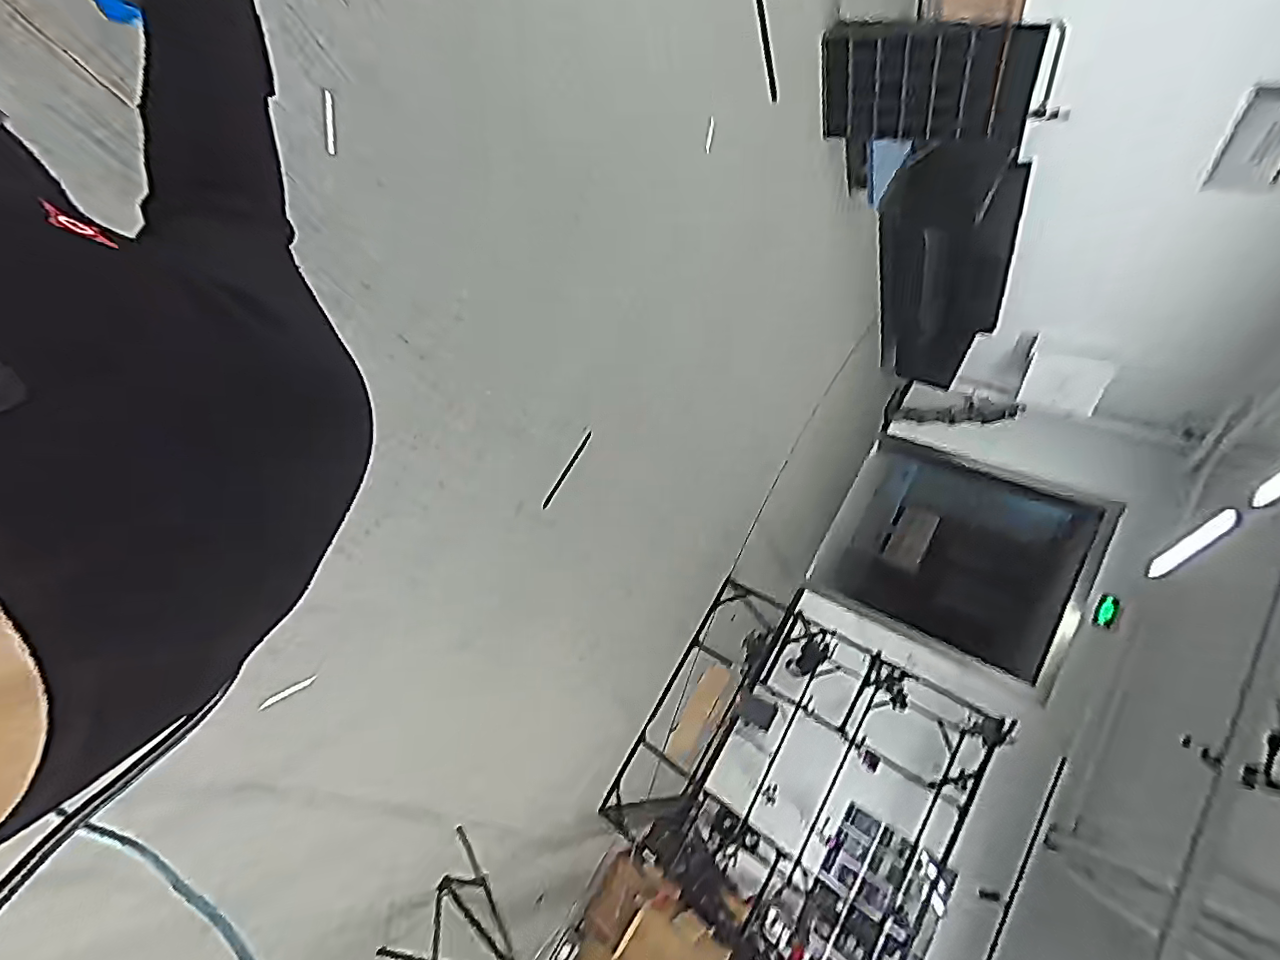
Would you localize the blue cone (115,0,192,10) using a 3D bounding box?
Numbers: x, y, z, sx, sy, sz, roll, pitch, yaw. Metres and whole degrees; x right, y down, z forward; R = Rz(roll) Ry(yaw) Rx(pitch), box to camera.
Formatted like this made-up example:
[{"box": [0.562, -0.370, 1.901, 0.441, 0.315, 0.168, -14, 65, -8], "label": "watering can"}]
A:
[{"box": [-0.748, -0.879, 0.841, 0.192, 0.380, 0.193, -45, 144, -29], "label": "blue cone"}]
